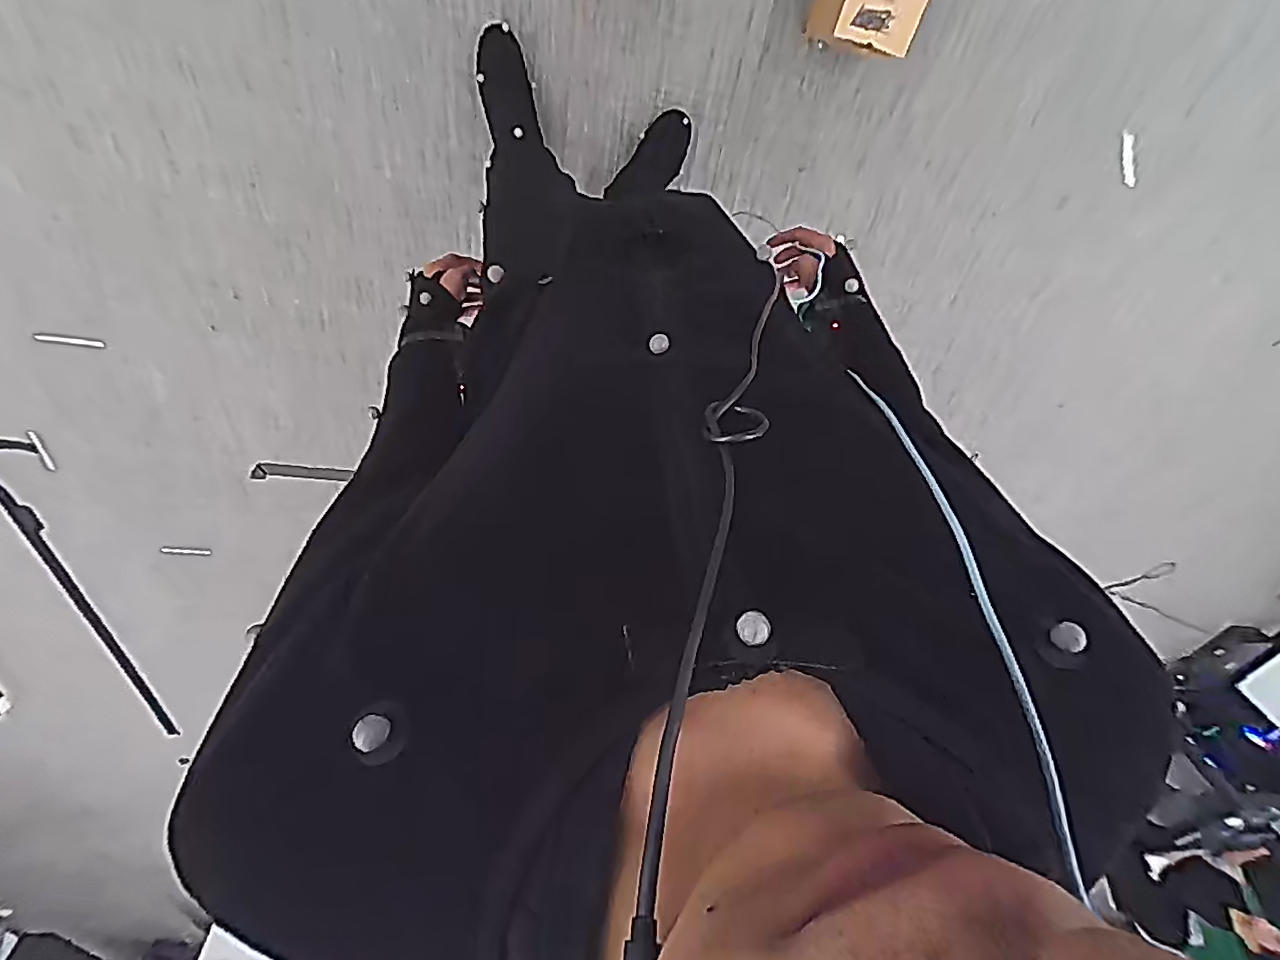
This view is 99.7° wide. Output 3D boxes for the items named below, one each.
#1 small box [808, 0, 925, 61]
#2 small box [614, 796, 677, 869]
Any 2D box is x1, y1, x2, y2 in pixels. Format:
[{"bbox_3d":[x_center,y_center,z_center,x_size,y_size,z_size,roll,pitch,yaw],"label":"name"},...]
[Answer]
[{"bbox_3d":[0.462,-0.981,1.095,0.168,0.176,0.179,7,127,-14],"label":"small box"},{"bbox_3d":[0.011,1.205,1.854,0.179,0.176,0.168,7,128,-12],"label":"small box"}]
